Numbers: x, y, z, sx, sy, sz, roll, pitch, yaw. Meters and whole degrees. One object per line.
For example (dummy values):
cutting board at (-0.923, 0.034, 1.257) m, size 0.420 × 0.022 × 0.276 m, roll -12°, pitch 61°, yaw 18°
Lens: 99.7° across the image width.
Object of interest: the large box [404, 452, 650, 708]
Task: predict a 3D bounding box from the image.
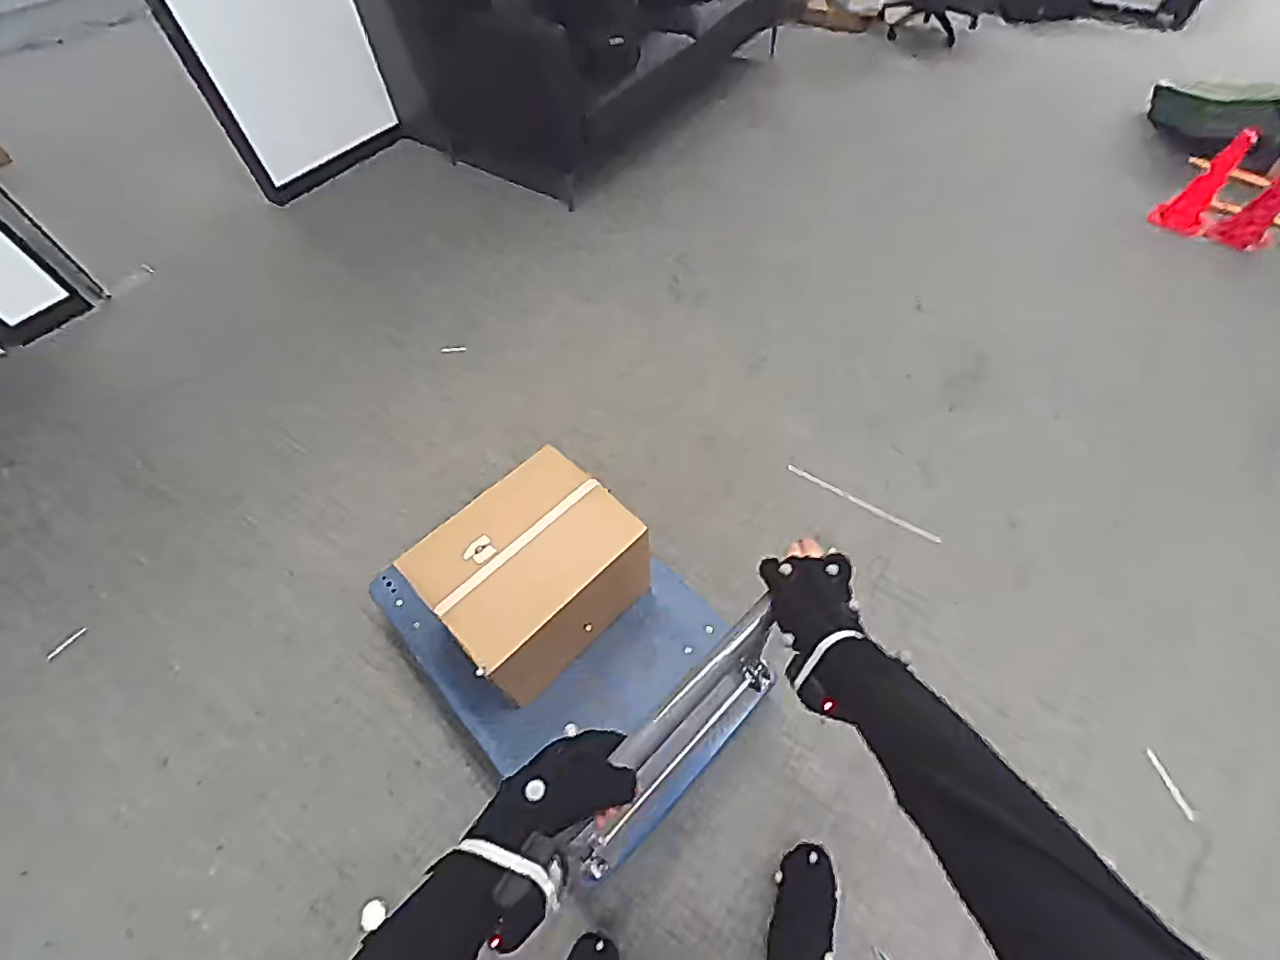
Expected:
large box at (-0.219, 0.223, 1.204) m, size 0.320 × 0.320 × 0.408 m, roll 39°, pitch 66°, yaw 24°
